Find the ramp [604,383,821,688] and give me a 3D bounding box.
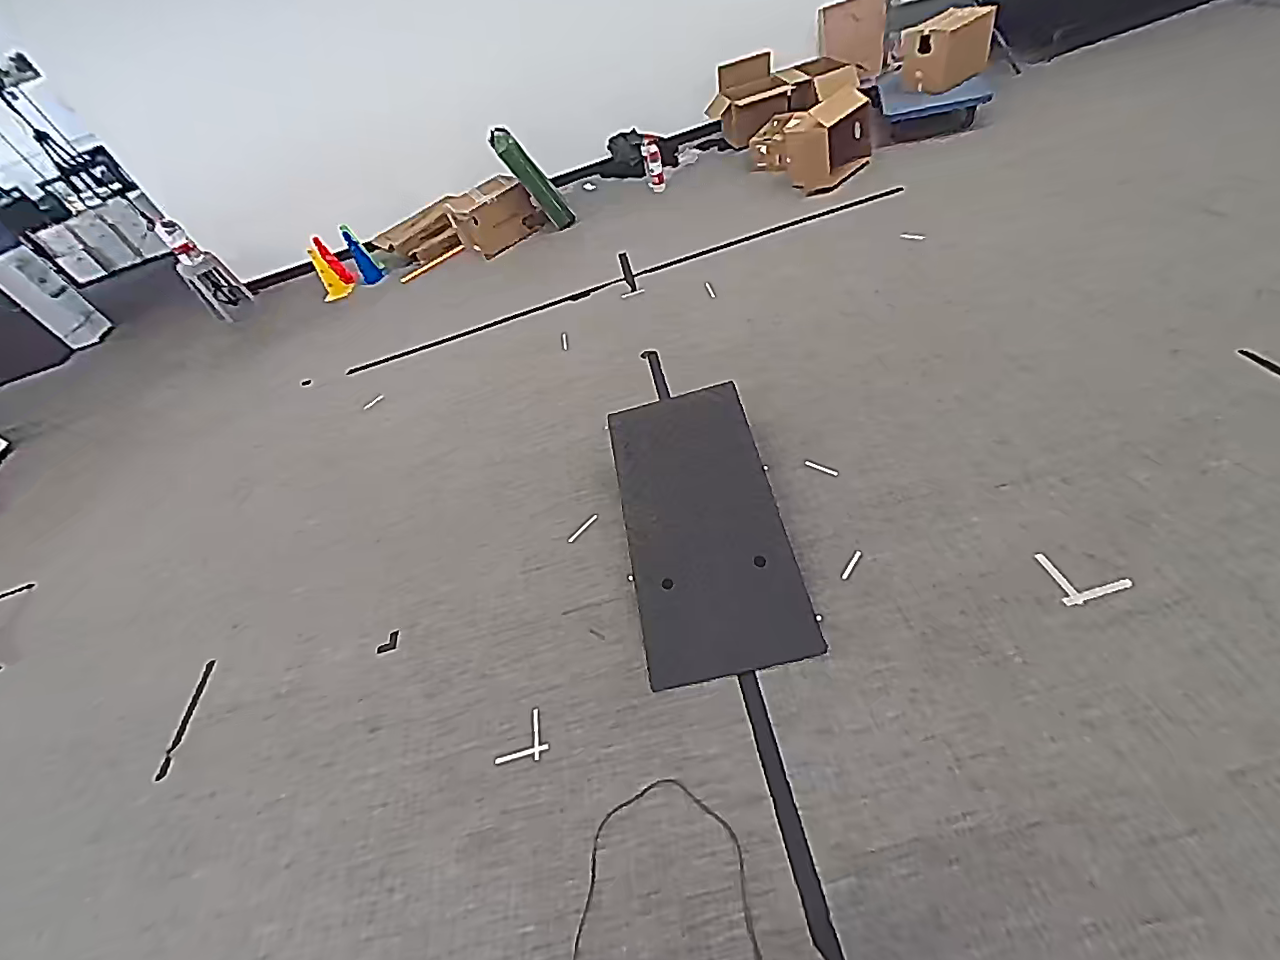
[{"bbox_3d":[0.180,0.112,1.747,0.509,0.206,0.991,-16,47,4],"label":"ramp"}]
